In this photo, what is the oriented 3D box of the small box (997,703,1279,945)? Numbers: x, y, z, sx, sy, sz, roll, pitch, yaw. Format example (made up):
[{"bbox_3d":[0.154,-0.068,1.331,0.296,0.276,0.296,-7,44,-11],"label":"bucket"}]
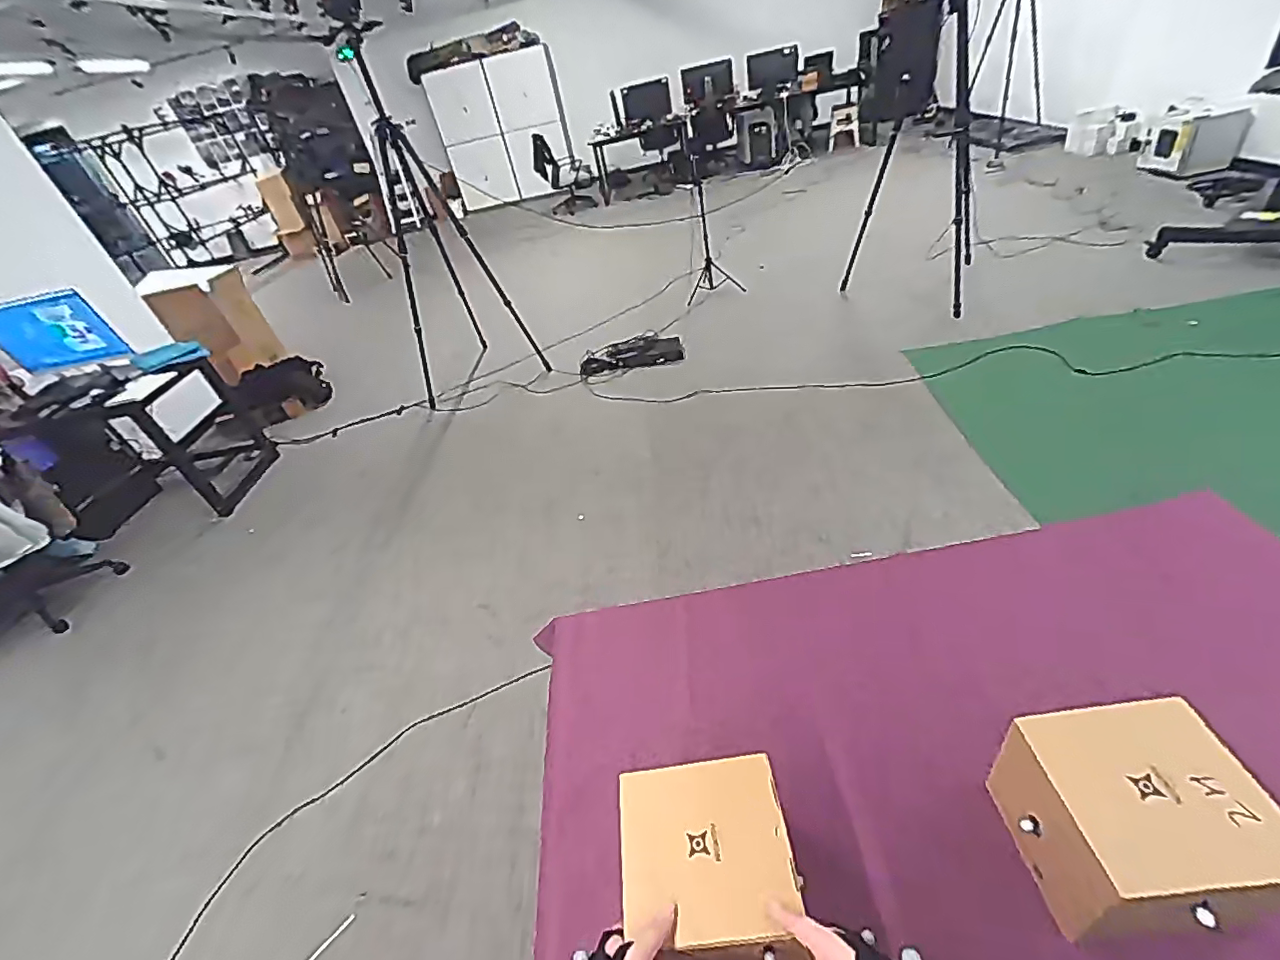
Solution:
[{"bbox_3d":[0.513,0.366,0.574,0.179,0.176,0.168,-10,38,6],"label":"small box"}]

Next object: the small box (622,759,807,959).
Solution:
[{"bbox_3d":[0.082,0.447,0.612,0.179,0.176,0.168,-10,38,4],"label":"small box"}]
